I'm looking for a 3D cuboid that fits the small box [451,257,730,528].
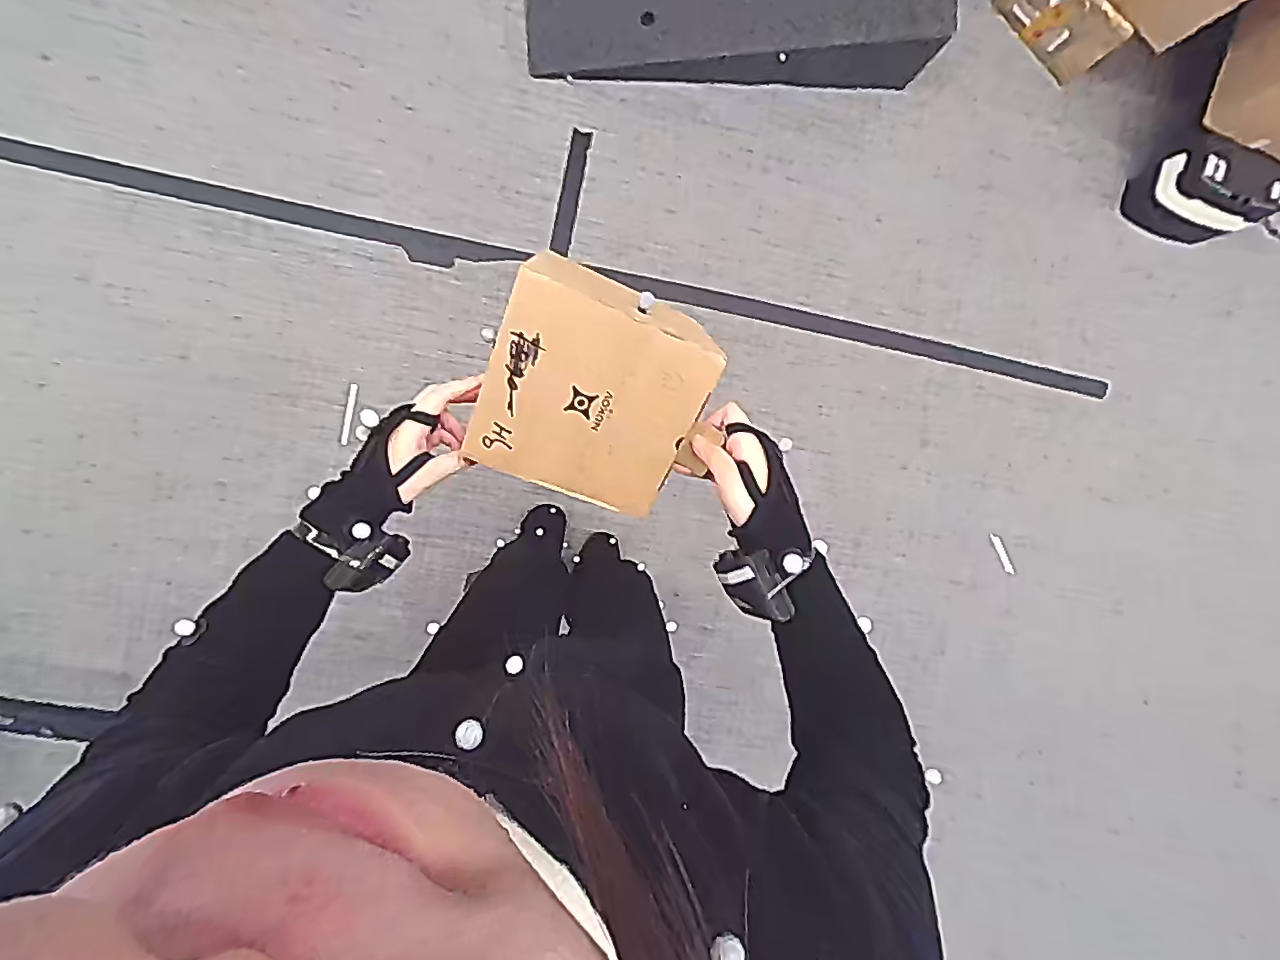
[{"bbox_3d":[-0.047,-0.089,0.496,0.179,0.176,0.168,21,113,-15],"label":"small box"}]
